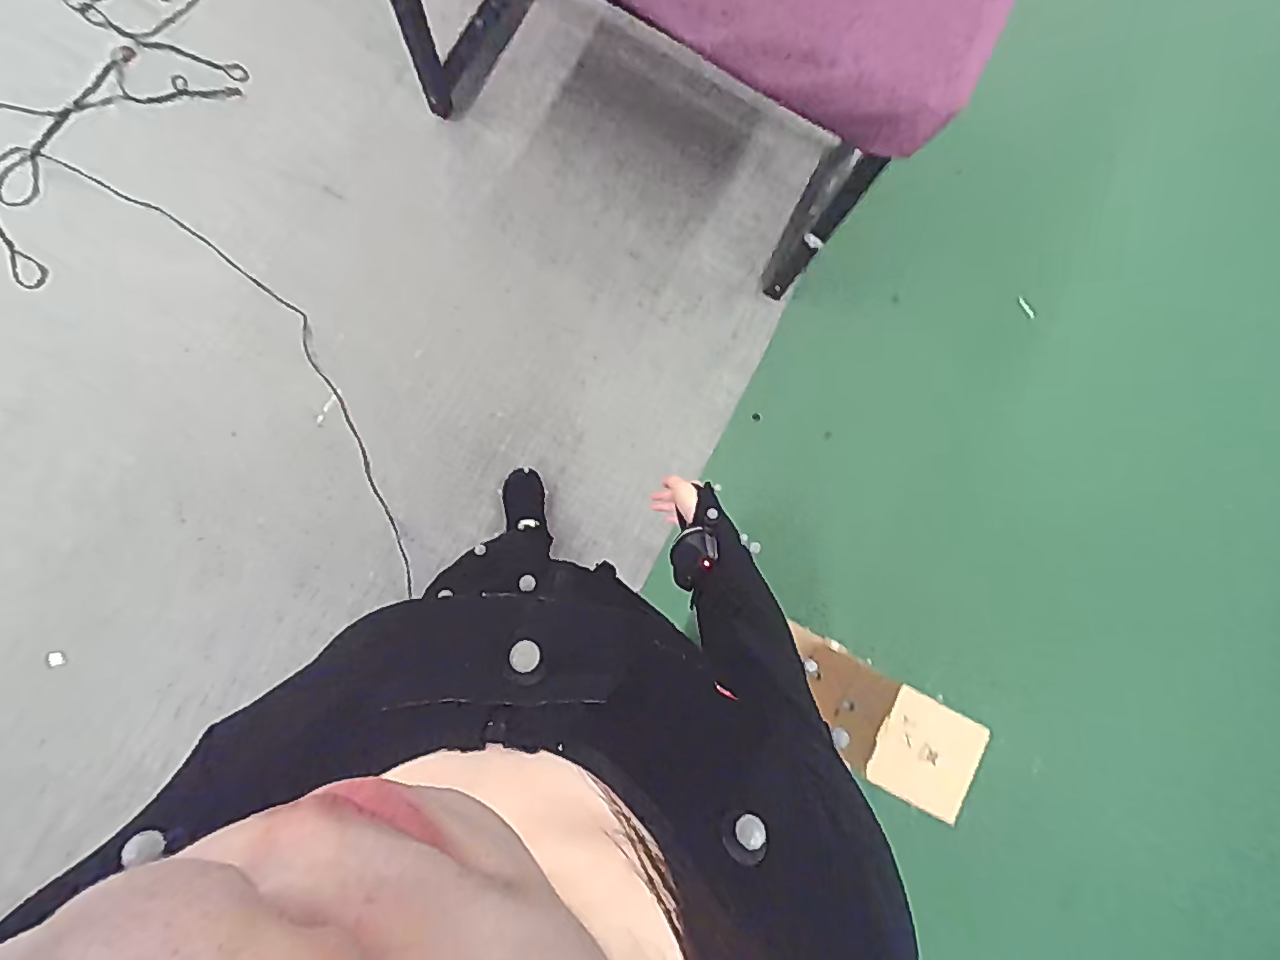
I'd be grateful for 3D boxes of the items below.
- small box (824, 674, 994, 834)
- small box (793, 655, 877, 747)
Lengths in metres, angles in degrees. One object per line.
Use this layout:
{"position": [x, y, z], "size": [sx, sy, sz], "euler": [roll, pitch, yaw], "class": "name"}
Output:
{"position": [0.465, 0.469, 0.957], "size": [0.179, 0.176, 0.168], "euler": [29, 82, -2], "class": "small box"}
{"position": [0.452, 0.485, 1.121], "size": [0.179, 0.176, 0.168], "euler": [30, 82, -2], "class": "small box"}
